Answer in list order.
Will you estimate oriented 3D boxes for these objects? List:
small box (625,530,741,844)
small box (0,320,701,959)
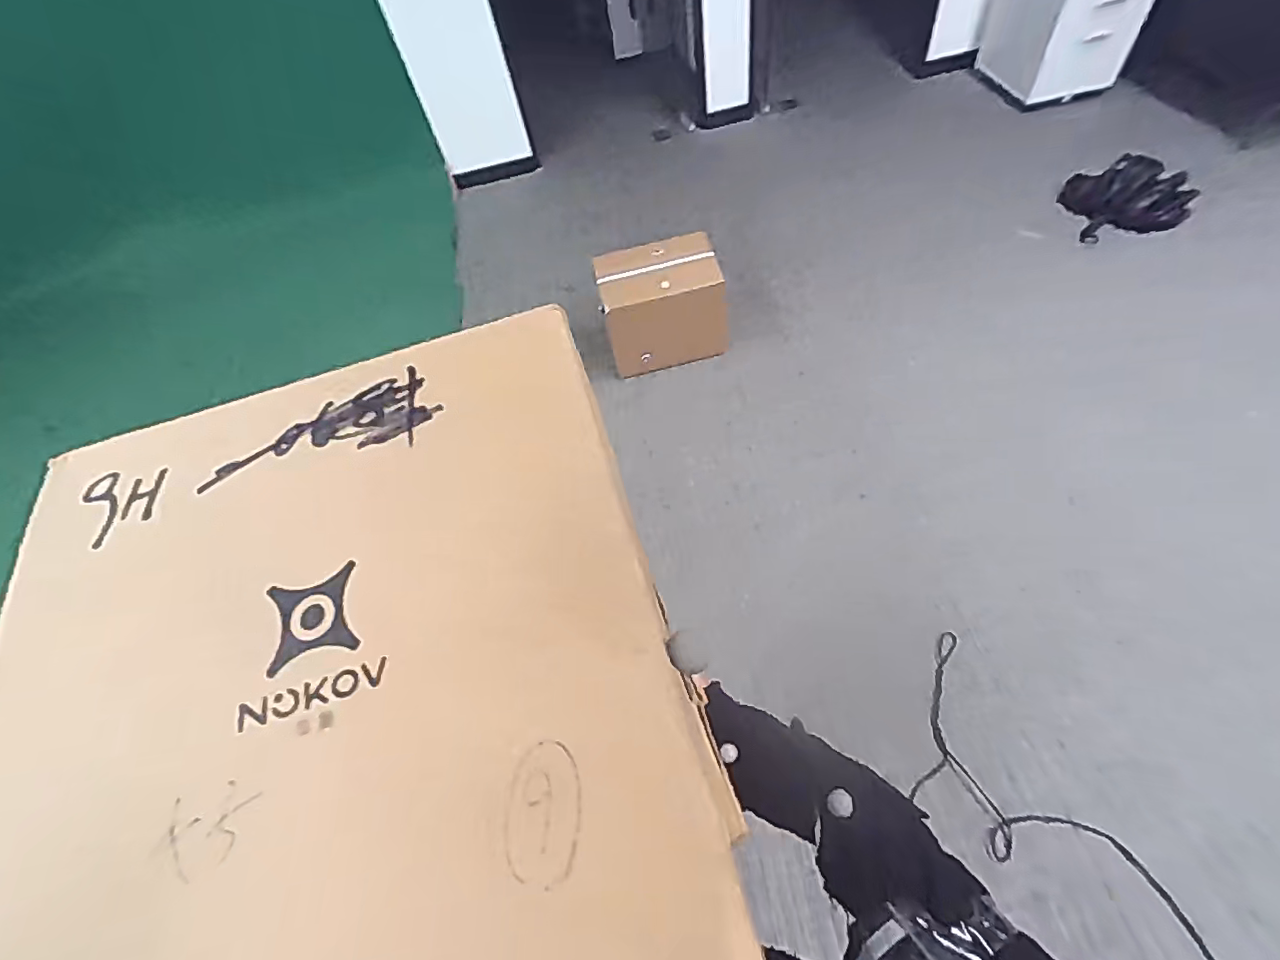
[{"bbox_3d":[-0.054,0.158,0.349,0.179,0.176,0.168,-22,63,-5],"label":"small box"},{"bbox_3d":[-0.077,0.078,0.208,0.168,0.176,0.179,-17,64,-2],"label":"small box"}]
